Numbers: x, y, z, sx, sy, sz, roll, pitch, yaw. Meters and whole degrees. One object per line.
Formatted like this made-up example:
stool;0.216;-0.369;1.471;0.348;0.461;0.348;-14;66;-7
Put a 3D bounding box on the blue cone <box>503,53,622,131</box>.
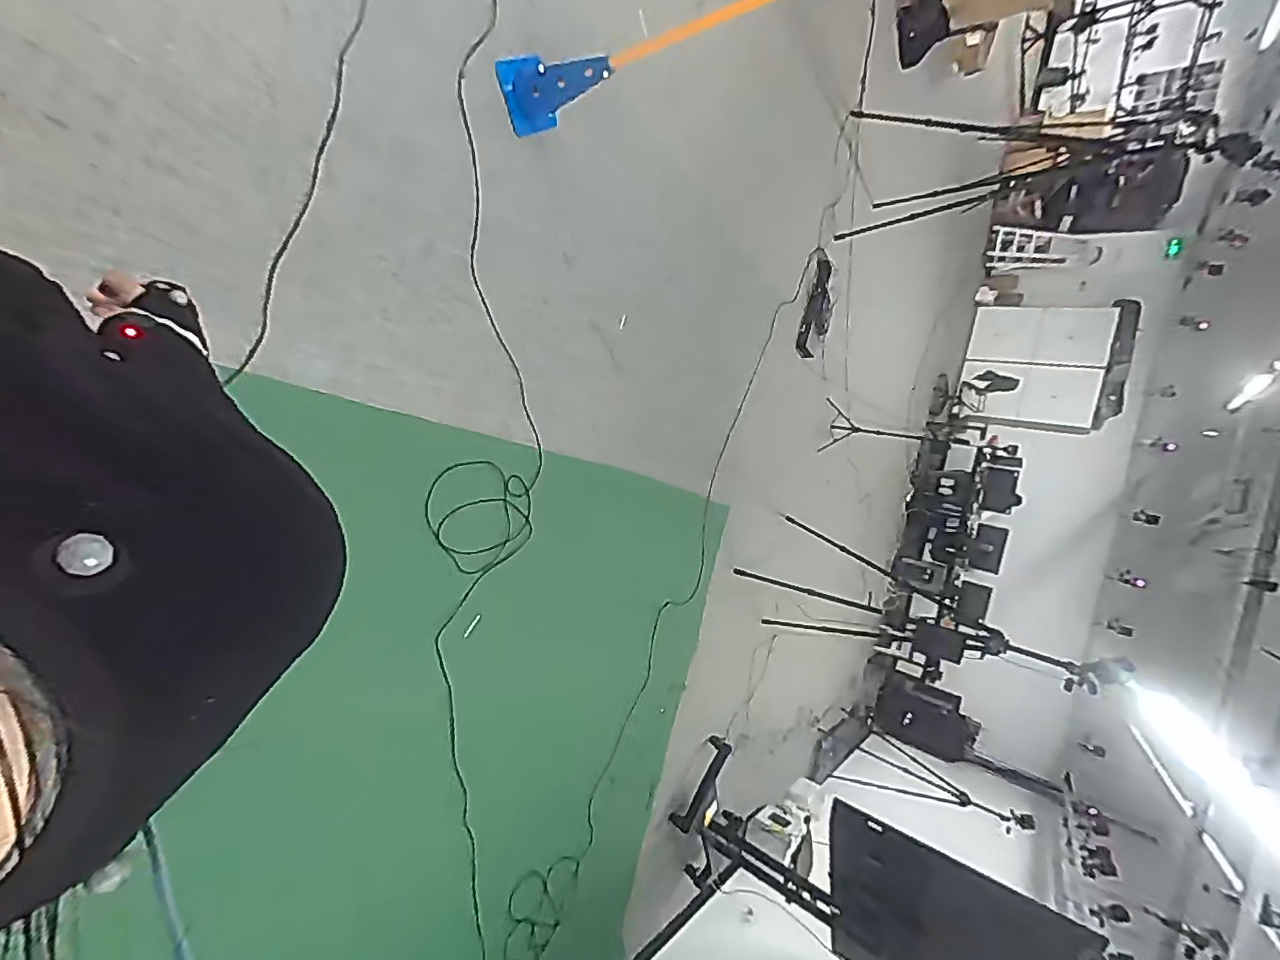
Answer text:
blue cone;-0.213;-1.207;1.619;0.193;0.380;0.192;-48;134;-36
